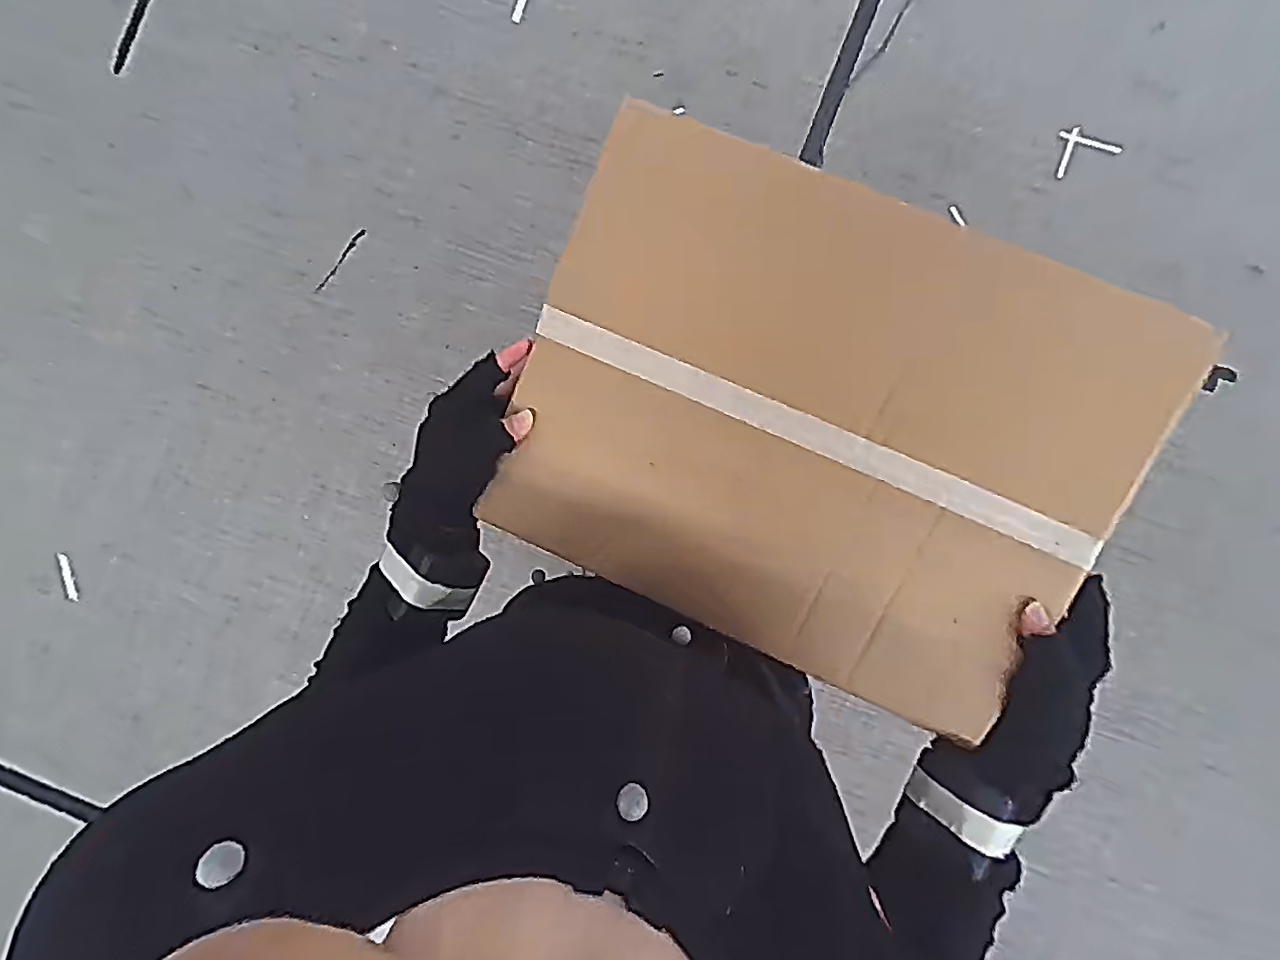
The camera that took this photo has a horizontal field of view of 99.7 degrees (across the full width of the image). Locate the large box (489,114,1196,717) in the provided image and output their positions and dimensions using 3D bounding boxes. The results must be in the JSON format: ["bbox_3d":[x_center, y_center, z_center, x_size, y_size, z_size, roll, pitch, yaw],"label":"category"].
[{"bbox_3d":[0.136,-0.060,0.529,0.408,0.320,0.320,24,101,4],"label":"large box"}]
